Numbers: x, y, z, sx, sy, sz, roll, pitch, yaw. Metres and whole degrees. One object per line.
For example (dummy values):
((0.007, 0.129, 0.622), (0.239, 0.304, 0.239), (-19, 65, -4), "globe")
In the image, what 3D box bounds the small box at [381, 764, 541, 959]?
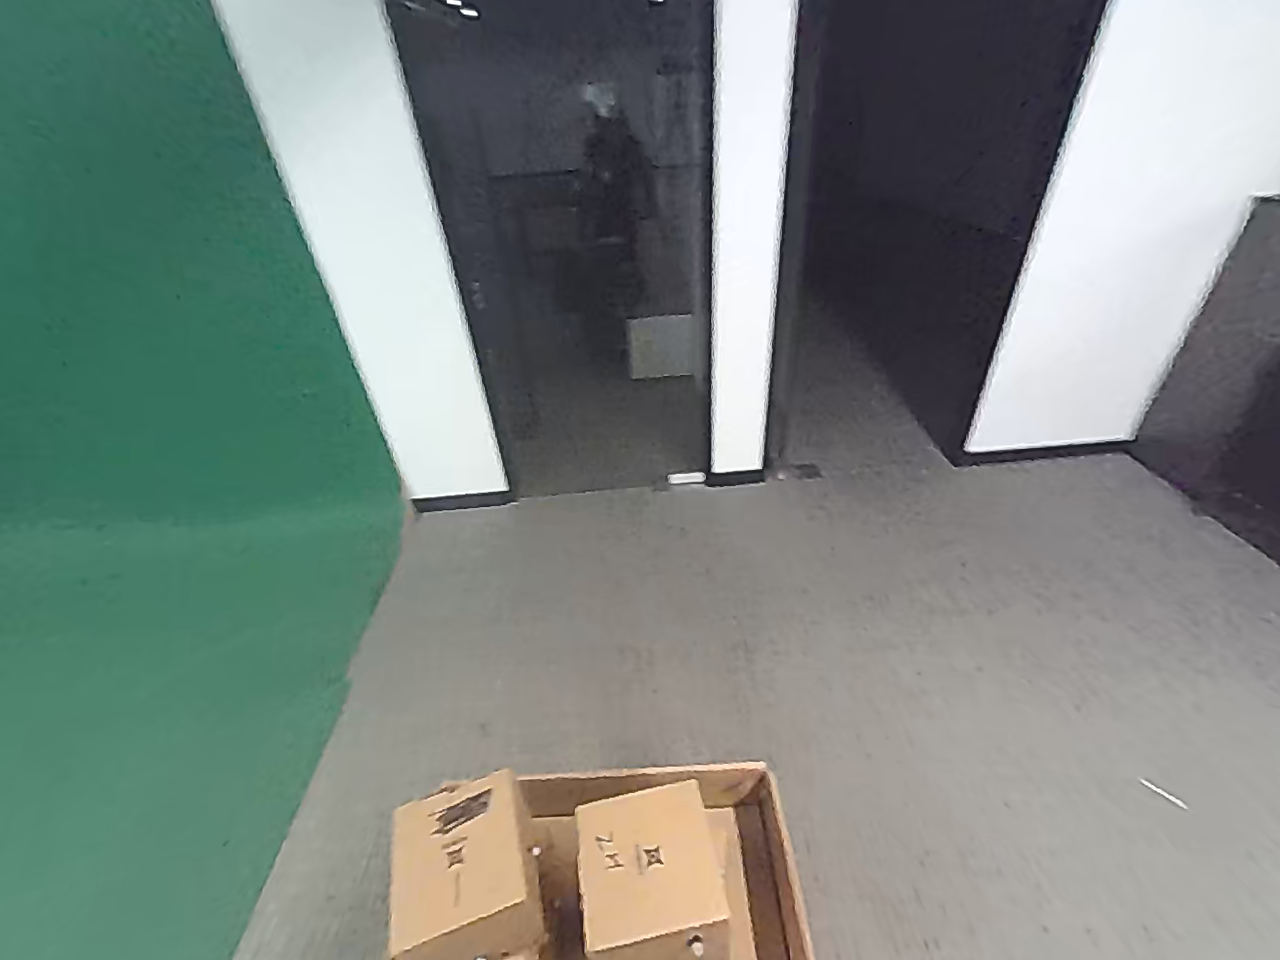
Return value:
((-0.243, 0.545, 0.757), (0.168, 0.176, 0.179), (-14, 37, -12), "small box")

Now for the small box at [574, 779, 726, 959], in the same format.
((0.010, 0.542, 0.733), (0.179, 0.176, 0.168), (-9, 34, -4), "small box")
